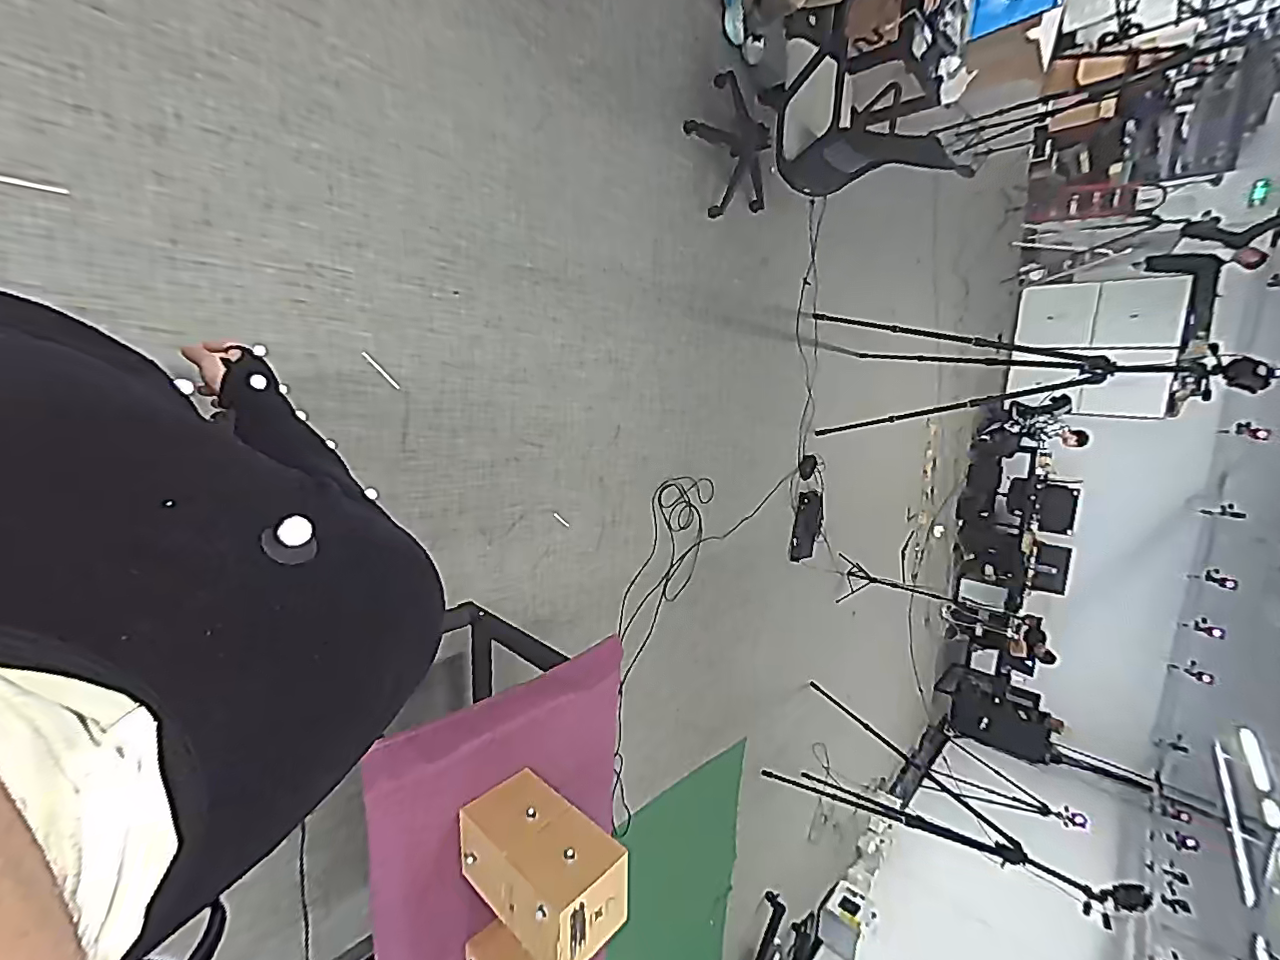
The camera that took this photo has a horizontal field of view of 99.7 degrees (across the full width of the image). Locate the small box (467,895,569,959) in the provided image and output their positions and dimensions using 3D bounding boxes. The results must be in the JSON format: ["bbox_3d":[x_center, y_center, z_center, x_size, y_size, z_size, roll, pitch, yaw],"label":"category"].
[{"bbox_3d":[-0.282,1.104,1.235,0.179,0.176,0.168,-9,106,-47],"label":"small box"}]

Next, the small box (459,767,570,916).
[{"bbox_3d":[-0.270,0.764,1.169,0.179,0.176,0.168,-11,106,-46],"label":"small box"}]

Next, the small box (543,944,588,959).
[{"bbox_3d":[-0.165,1.129,1.124,0.168,0.176,0.179,-8,105,-46],"label":"small box"}]
